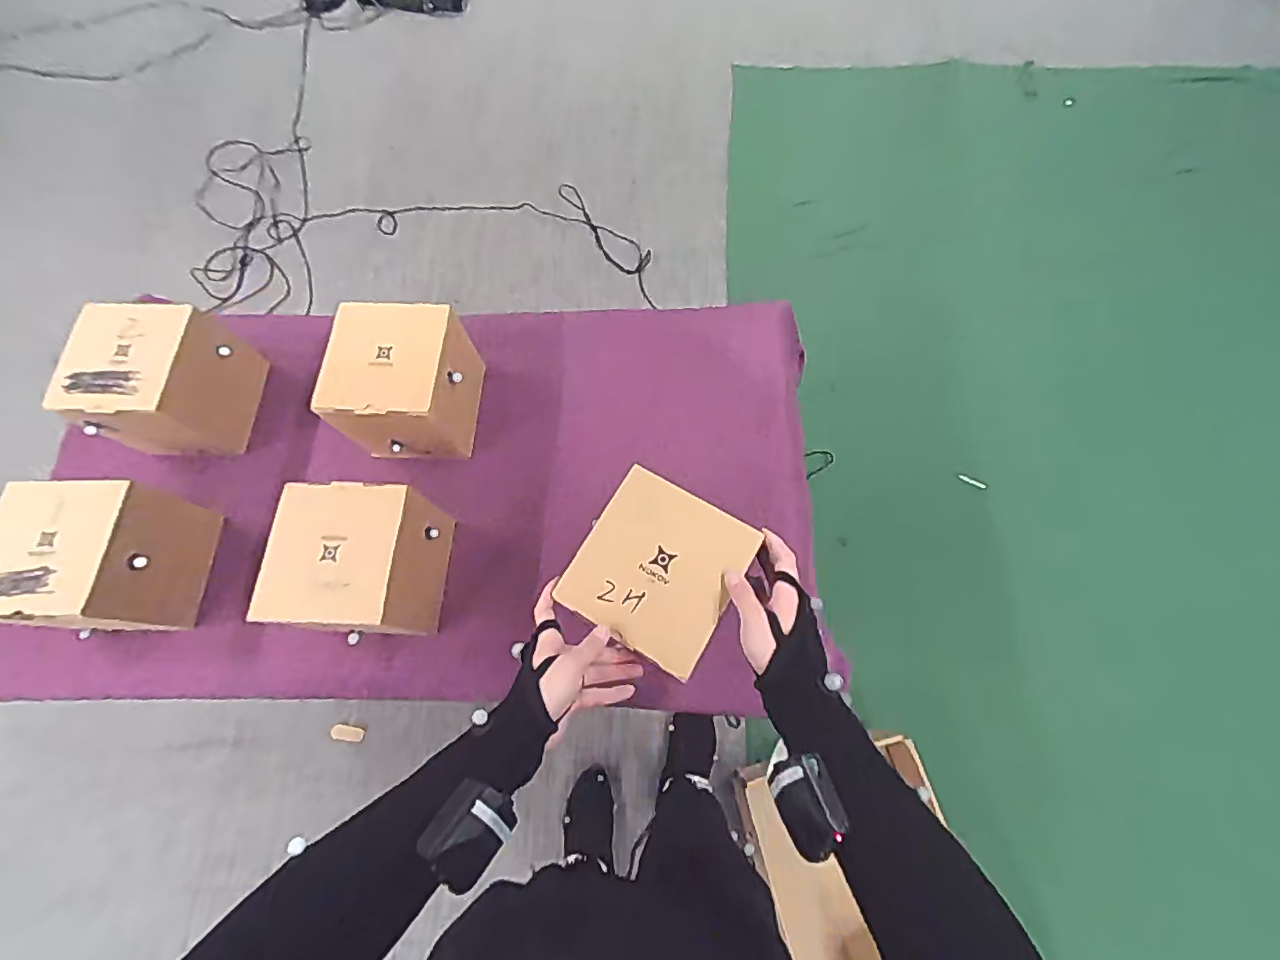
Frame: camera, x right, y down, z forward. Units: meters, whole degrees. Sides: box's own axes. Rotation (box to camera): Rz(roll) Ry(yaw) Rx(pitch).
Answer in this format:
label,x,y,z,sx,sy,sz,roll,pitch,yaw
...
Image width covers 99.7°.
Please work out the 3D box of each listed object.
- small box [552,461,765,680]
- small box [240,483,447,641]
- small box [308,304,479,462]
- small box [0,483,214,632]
label,x,y,z,sx,sy,sz,roll,pitch,yaw
small box,0.024,0.110,0.638,0.168,0.176,0.179,29,77,13
small box,-0.377,0.117,0.728,0.168,0.176,0.179,2,70,4
small box,-0.356,-0.142,0.821,0.168,0.176,0.179,2,72,3
small box,-0.739,0.113,0.742,0.168,0.176,0.179,0,69,2
